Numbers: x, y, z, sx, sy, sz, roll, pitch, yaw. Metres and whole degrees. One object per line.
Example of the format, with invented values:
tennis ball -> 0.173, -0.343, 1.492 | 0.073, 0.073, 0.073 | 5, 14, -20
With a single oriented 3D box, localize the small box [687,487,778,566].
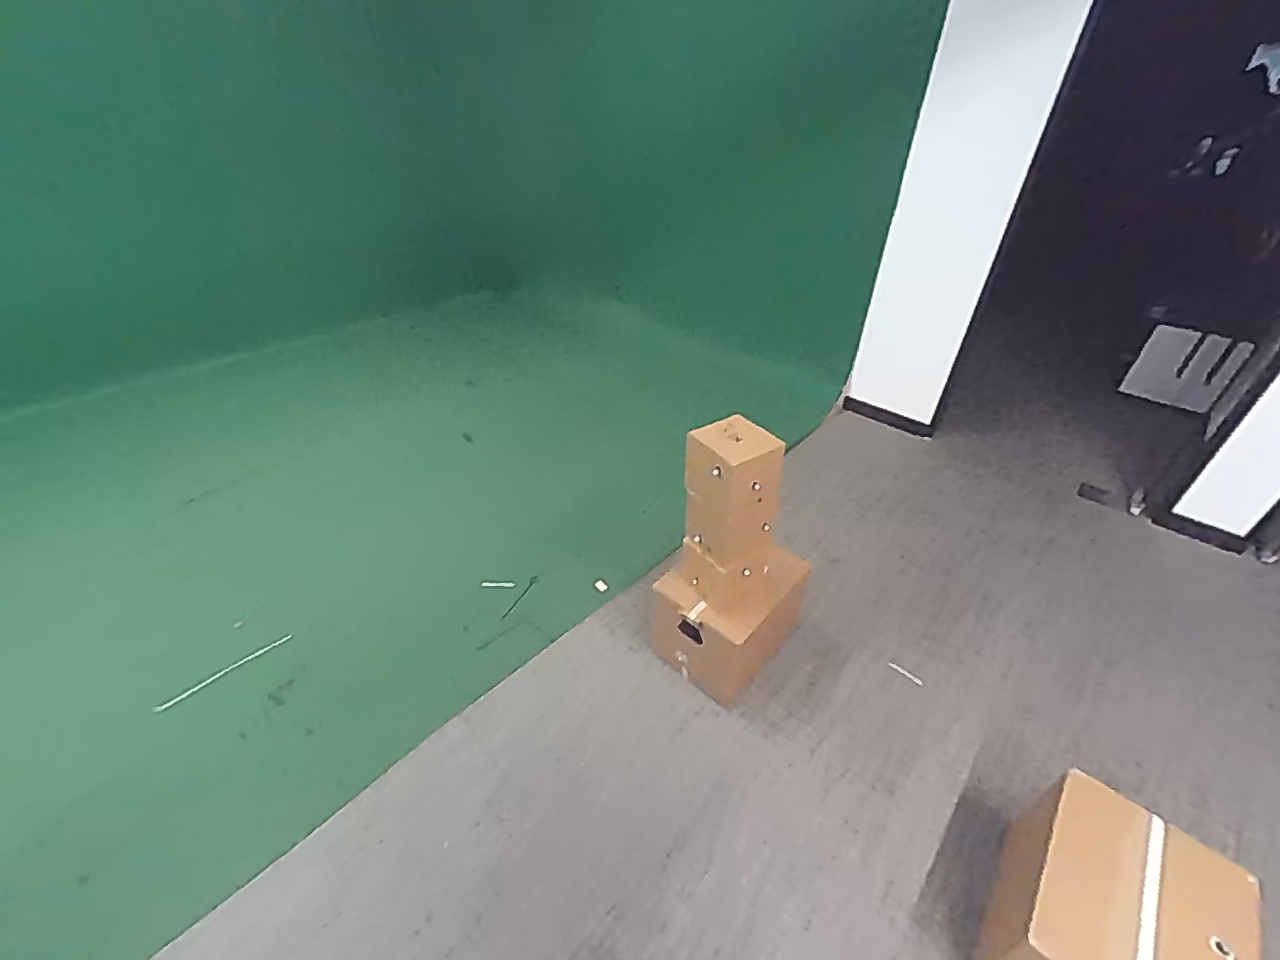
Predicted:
small box -> 0.240, 0.095, 1.445 | 0.179, 0.176, 0.168 | -23, 42, -26

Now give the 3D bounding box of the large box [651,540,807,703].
large box -> 0.273, 0.404, 1.710 | 0.320, 0.320, 0.408 | 29, 45, 32

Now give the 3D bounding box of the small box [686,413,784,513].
small box -> 0.231, -0.038, 1.349 | 0.168, 0.176, 0.179 | -21, 42, -26

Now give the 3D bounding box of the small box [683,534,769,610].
small box -> 0.236, 0.231, 1.535 | 0.179, 0.176, 0.168 | -25, 44, -29
